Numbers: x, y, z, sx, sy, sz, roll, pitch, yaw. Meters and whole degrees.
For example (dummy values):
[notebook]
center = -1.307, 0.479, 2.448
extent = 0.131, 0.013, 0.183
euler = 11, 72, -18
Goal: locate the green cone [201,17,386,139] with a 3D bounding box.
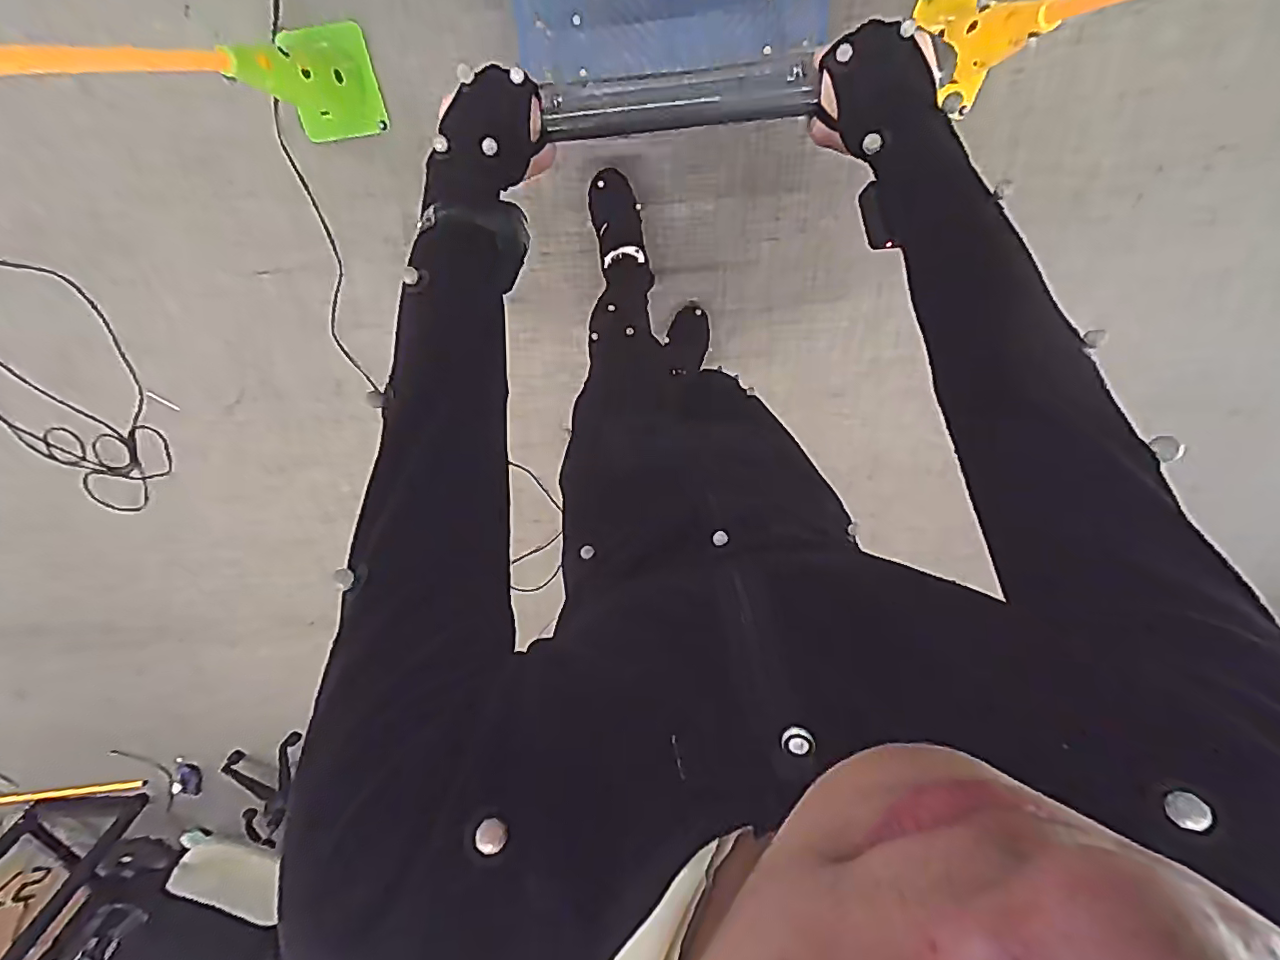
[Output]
[green cone]
center = -0.692, -0.795, 1.046
extent = 0.202, 0.368, 0.200
euler = -5, 120, 7
